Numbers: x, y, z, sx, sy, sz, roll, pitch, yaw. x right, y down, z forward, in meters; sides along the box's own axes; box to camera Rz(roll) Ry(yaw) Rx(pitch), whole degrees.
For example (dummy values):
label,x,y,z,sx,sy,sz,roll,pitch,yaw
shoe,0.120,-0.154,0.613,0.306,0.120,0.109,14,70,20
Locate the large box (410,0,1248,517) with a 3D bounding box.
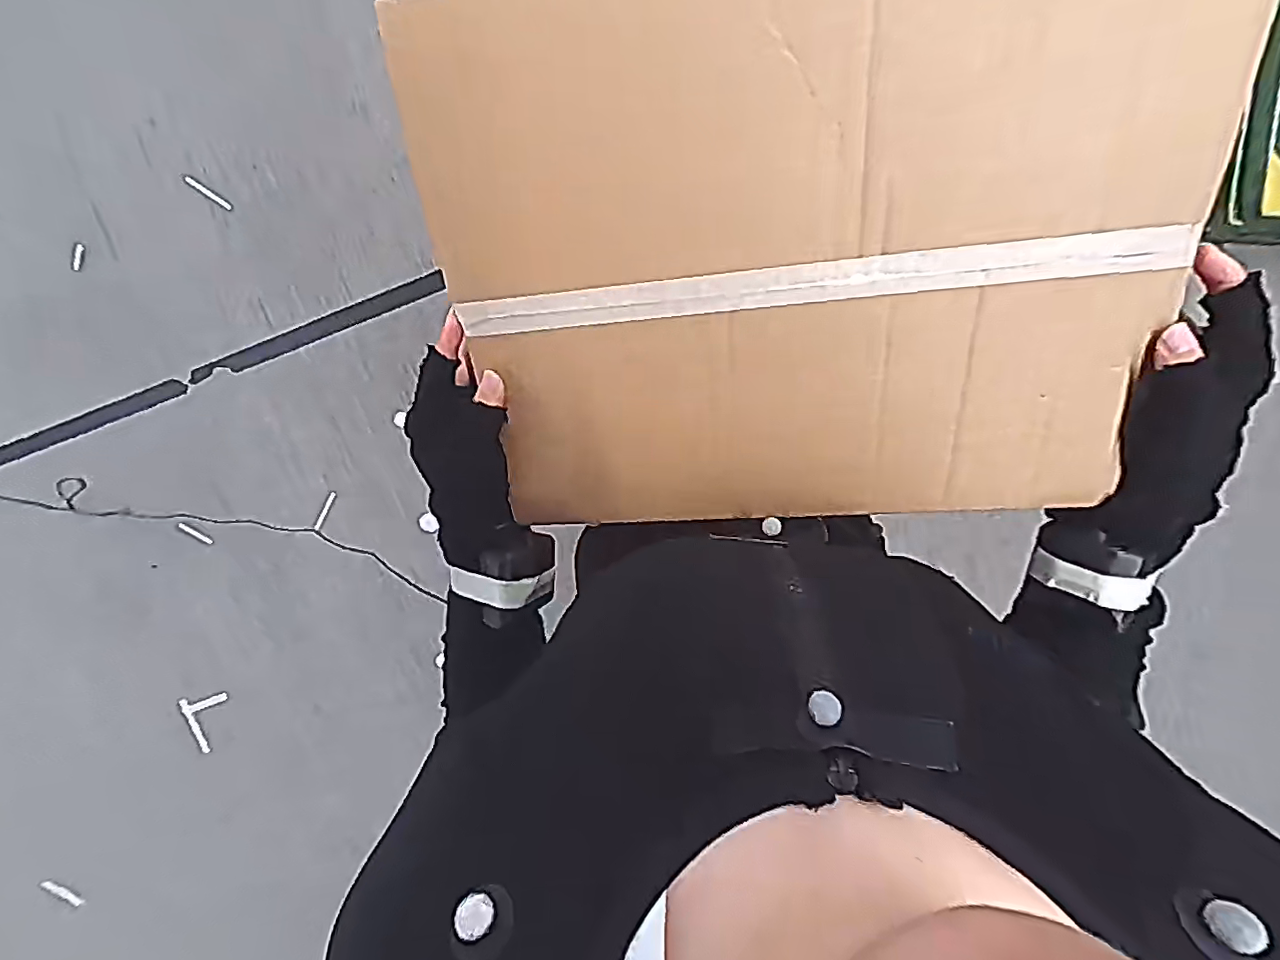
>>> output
label,x,y,z,sx,sy,sz,roll,pitch,yaw
large box,0.104,-0.185,0.451,0.408,0.320,0.320,-2,119,9
